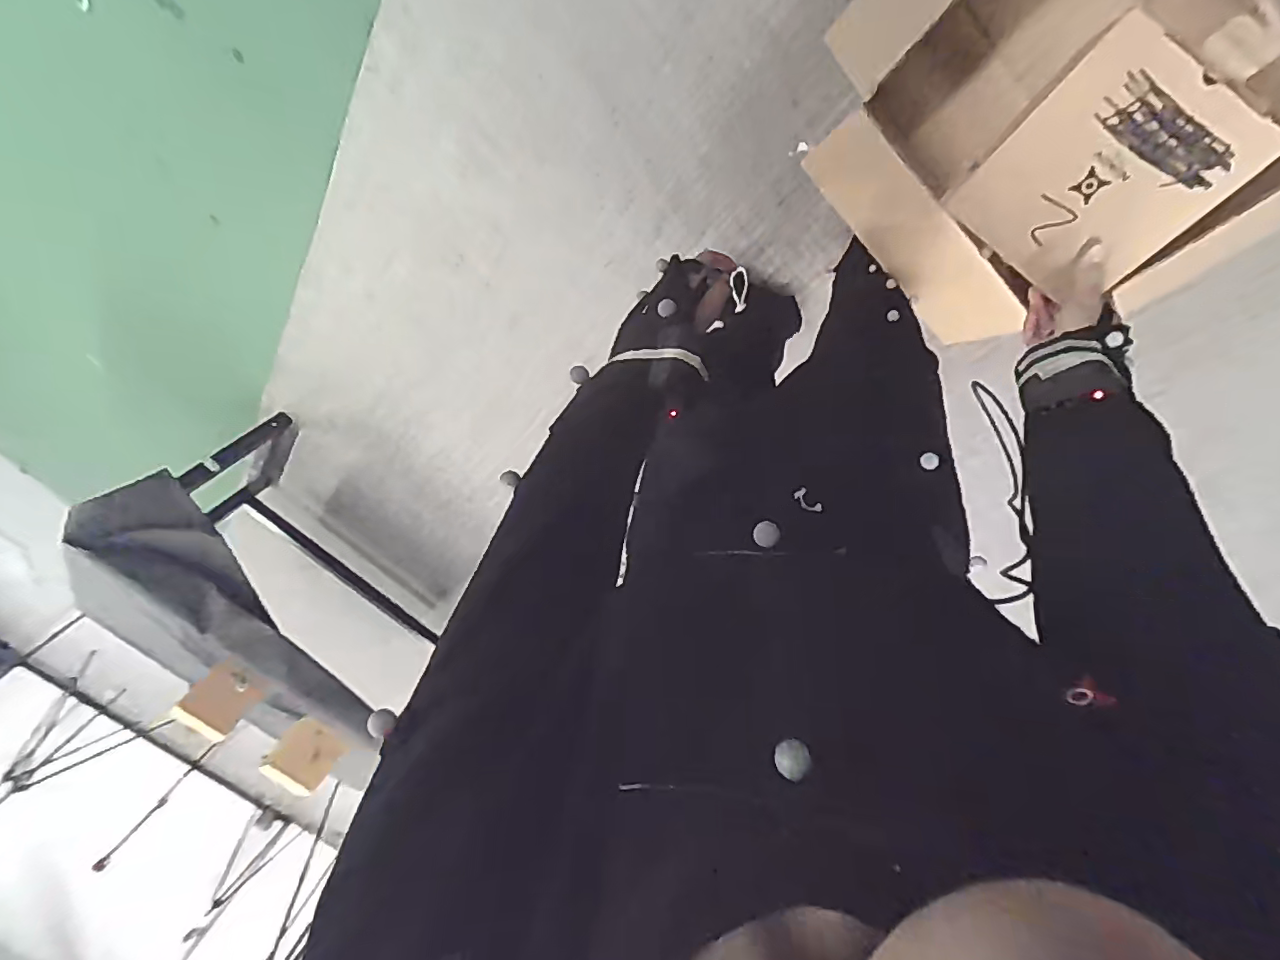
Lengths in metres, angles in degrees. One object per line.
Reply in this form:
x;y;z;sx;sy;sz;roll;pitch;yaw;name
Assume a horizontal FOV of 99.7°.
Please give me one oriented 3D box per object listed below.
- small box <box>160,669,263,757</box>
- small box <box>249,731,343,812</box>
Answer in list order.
-1.273;0.695;1.613;0.168;0.176;0.179;44;130;-15;small box
-1.067;0.907;1.689;0.168;0.176;0.179;45;131;-14;small box
